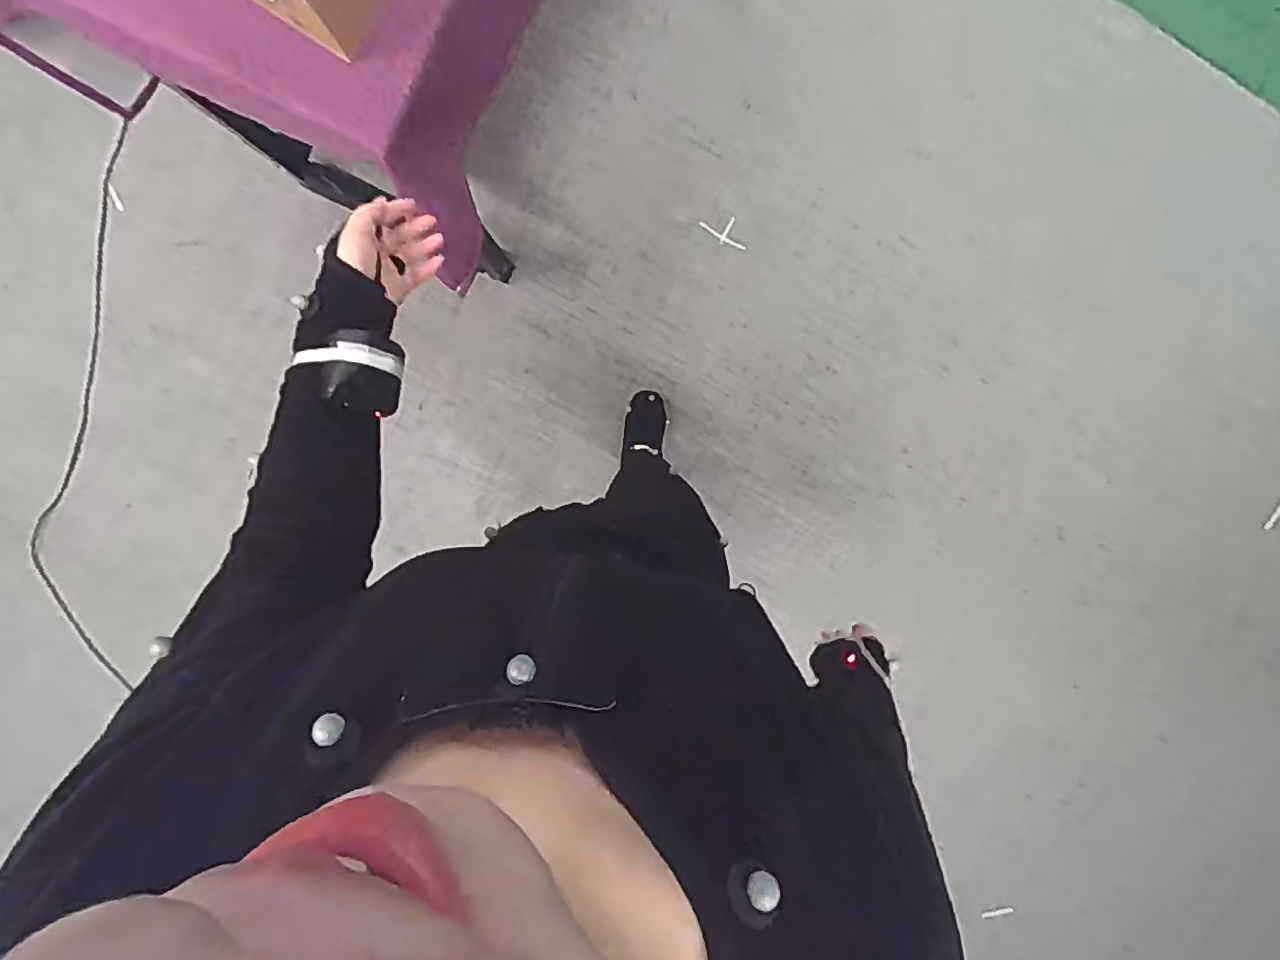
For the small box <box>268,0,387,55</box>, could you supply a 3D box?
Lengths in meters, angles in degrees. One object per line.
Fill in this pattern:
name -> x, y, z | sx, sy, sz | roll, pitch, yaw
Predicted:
small box -> -0.383, -0.636, 0.596 | 0.168, 0.176, 0.179 | 33, 94, -4
